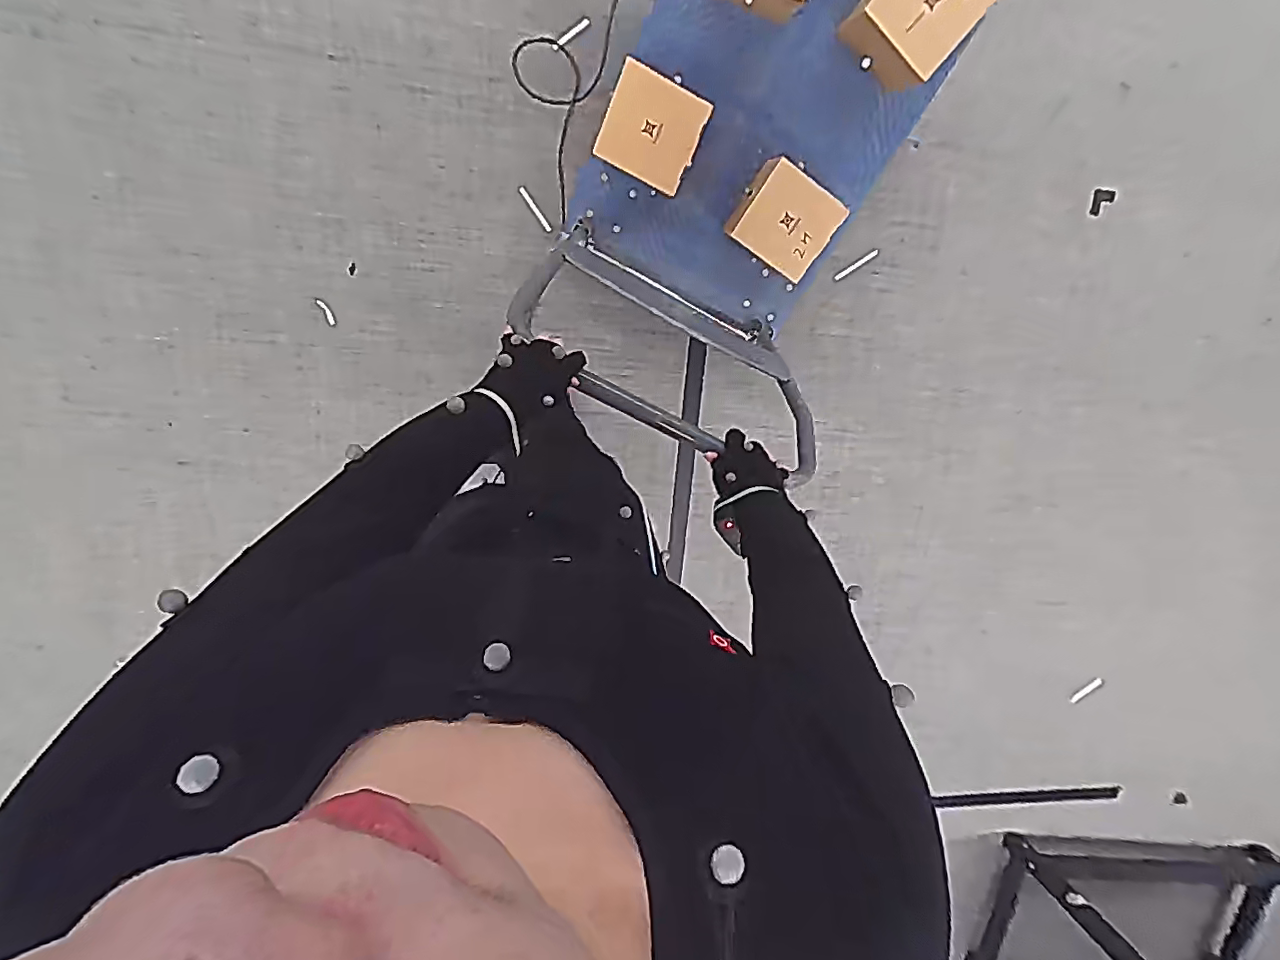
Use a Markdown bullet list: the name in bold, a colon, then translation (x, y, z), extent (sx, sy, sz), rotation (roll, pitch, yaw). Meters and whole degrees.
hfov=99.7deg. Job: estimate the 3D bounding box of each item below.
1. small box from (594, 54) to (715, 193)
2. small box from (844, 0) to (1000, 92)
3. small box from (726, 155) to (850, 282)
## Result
- **small box**: translation (0.024, -0.691, 1.069), extent (0.179, 0.176, 0.168), rotation (23, 117, -12)
- **small box**: translation (0.501, -0.845, 0.971), extent (0.168, 0.176, 0.179), rotation (36, 115, -17)
- **small box**: translation (0.299, -0.548, 1.139), extent (0.179, 0.176, 0.168), rotation (31, 116, -14)
